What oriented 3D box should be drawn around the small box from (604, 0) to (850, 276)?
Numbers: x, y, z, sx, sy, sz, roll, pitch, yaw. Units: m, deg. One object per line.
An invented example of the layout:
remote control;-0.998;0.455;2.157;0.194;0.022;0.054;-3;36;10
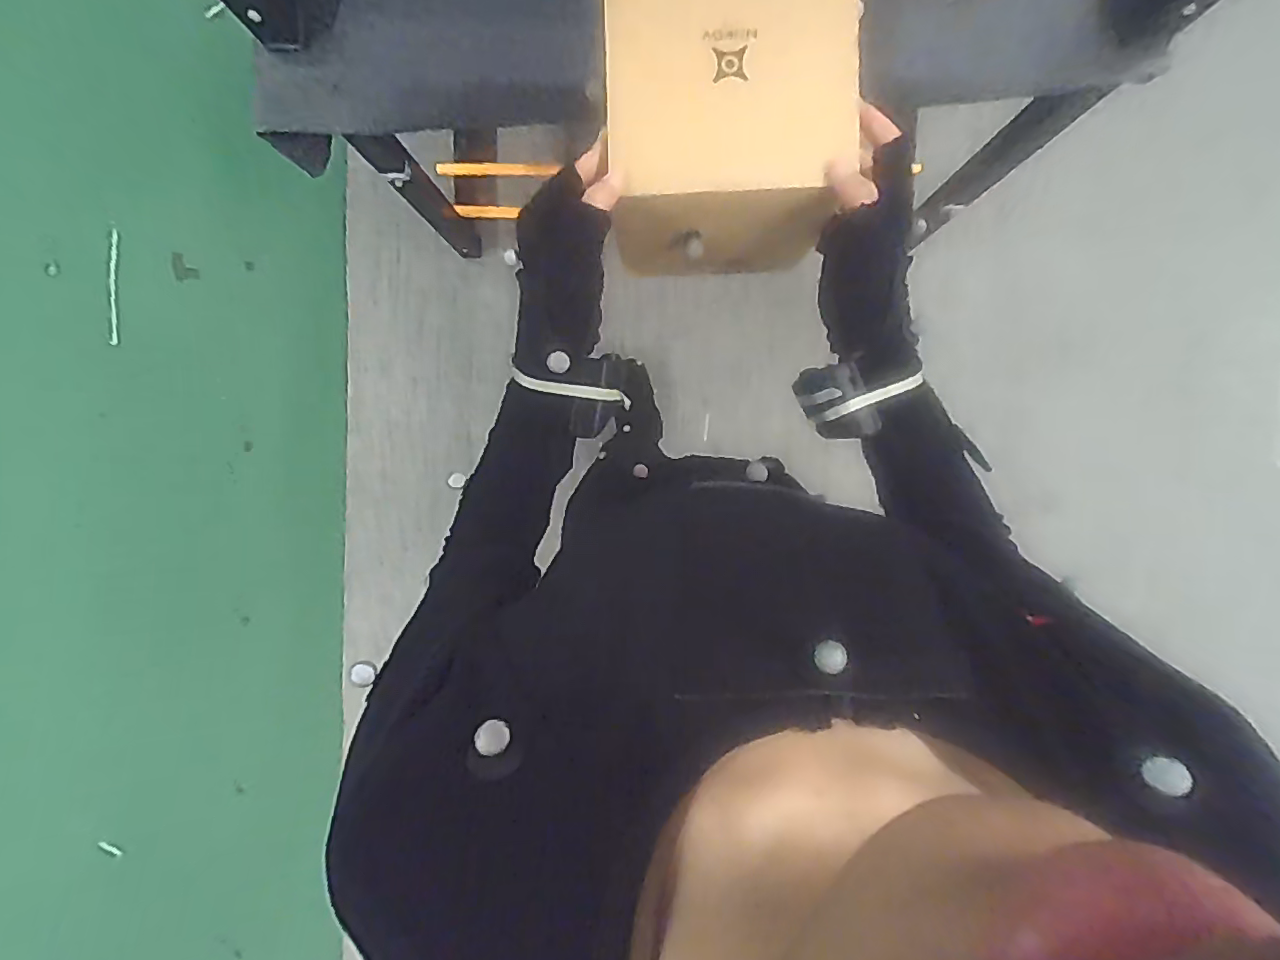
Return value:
small box;0.063;-0.280;0.446;0.168;0.176;0.179;-2;91;3
